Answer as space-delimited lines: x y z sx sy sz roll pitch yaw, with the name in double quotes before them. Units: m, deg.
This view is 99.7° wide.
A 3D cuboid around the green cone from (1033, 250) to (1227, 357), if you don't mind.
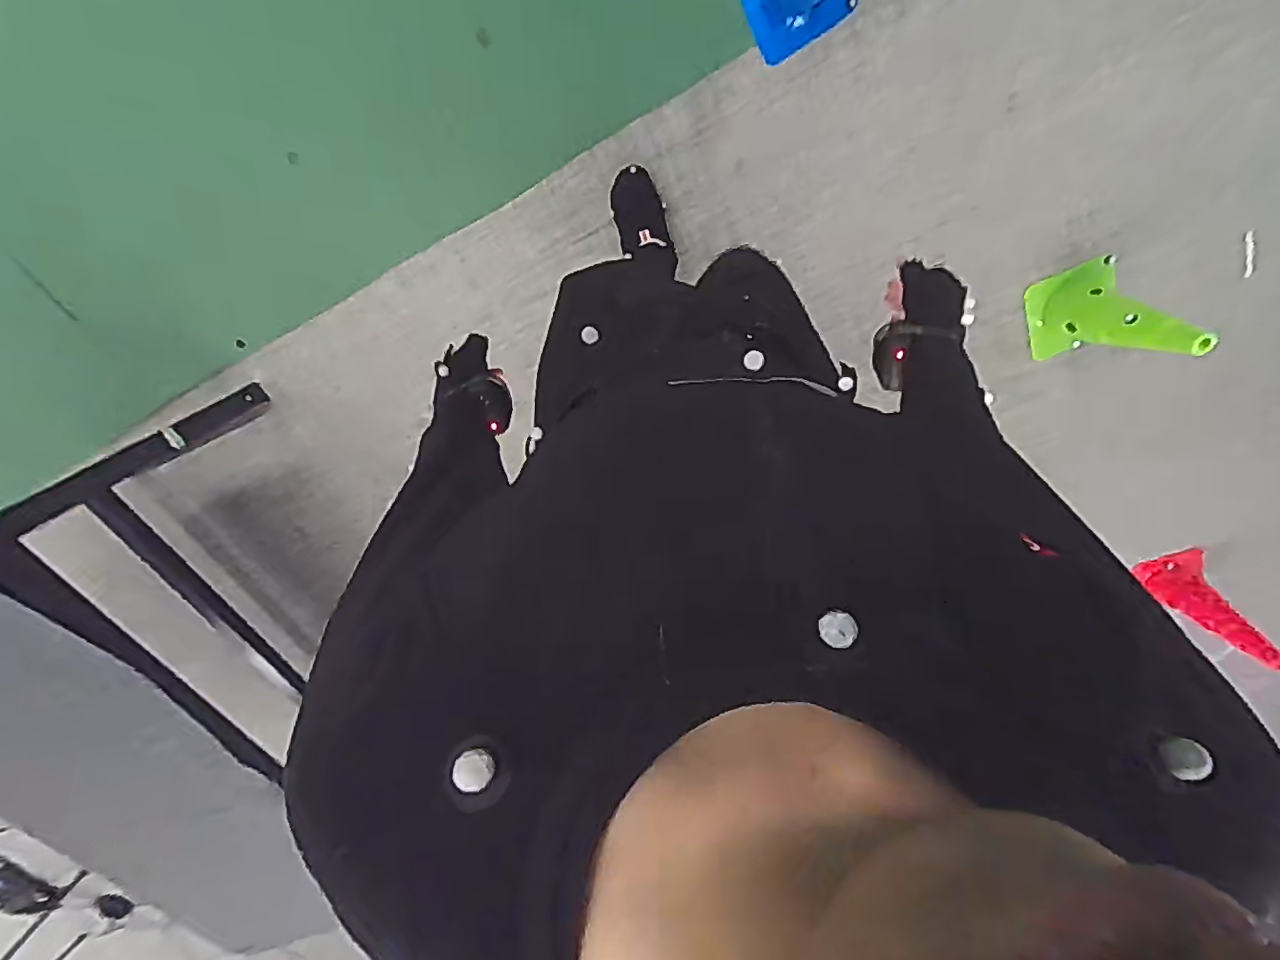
"green cone" 1.056 -0.337 1.150 0.200 0.368 0.202 -24 116 13
